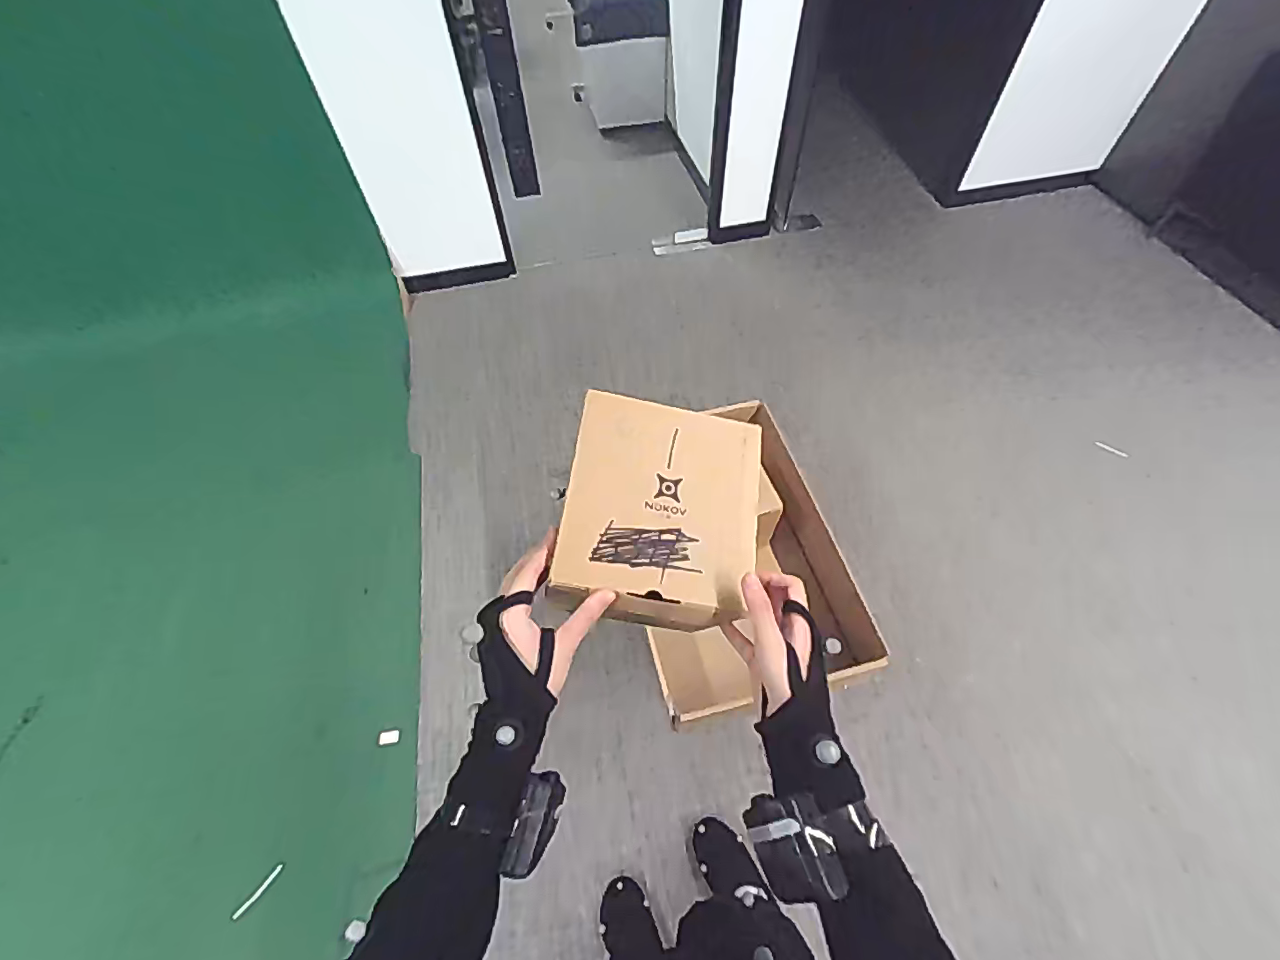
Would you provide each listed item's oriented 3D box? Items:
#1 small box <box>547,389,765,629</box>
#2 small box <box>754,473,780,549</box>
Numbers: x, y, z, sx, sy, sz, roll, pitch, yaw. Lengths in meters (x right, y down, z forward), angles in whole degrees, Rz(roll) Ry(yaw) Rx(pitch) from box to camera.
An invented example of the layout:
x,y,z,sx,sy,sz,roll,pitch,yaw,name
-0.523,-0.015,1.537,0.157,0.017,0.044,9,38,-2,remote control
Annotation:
x,y,z,sx,sy,sz,roll,pitch,yaw,name
0.007,0.043,0.532,0.168,0.176,0.179,13,67,-9,small box
0.176,0.057,1.154,0.168,0.176,0.179,-15,59,-9,small box
